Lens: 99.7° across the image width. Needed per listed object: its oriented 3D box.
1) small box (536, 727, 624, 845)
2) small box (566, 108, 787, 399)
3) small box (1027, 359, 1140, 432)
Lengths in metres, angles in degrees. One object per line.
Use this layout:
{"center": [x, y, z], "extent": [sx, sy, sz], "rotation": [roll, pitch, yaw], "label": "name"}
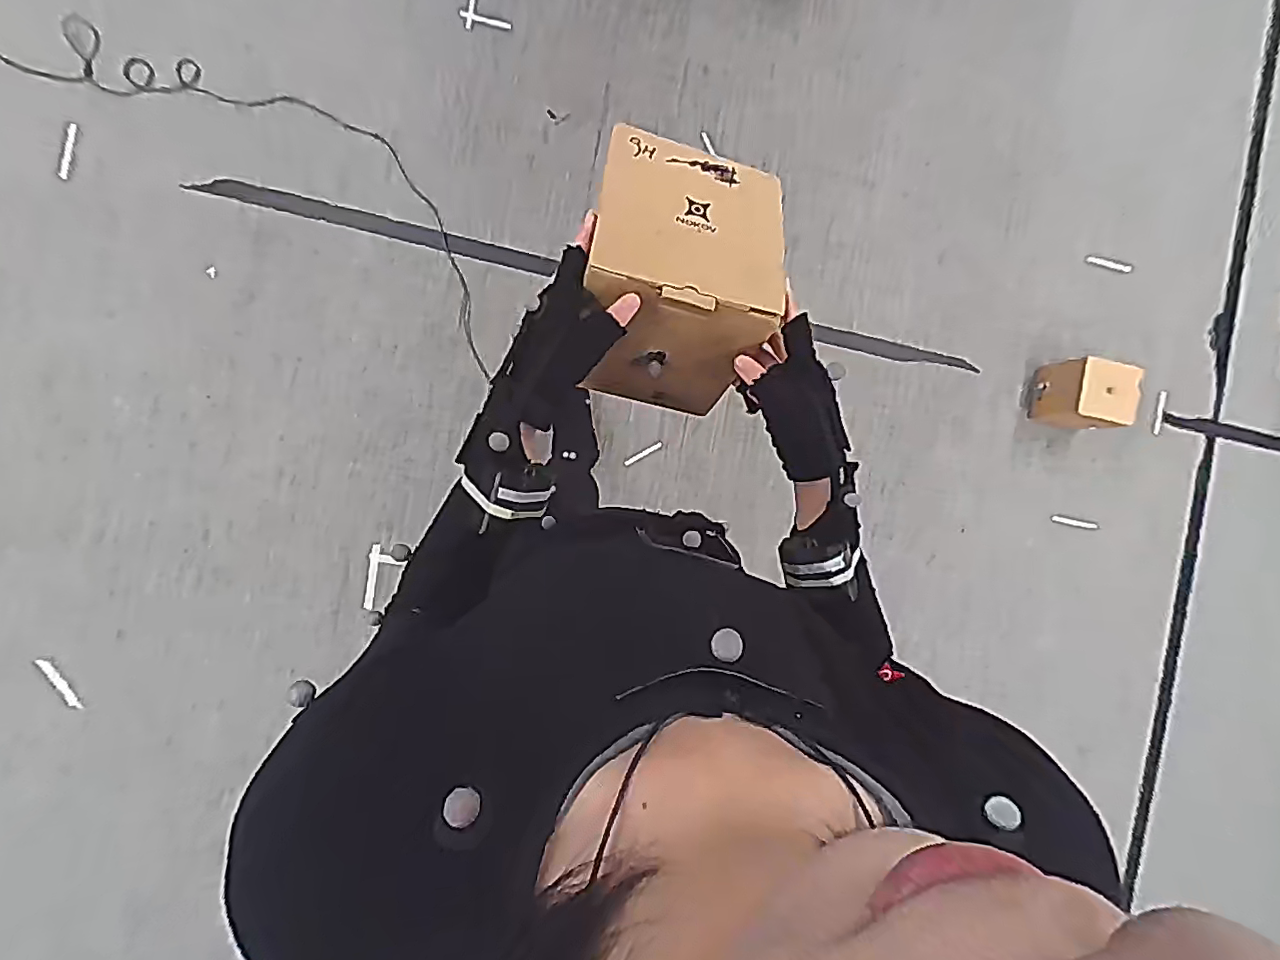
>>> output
{"center": [-0.156, 0.795, 1.425], "extent": [0.168, 0.176, 0.179], "rotation": [-29, 93, -6], "label": "small box"}
{"center": [0.027, -0.202, 0.526], "extent": [0.168, 0.176, 0.179], "rotation": [11, 66, -12], "label": "small box"}
{"center": [1.286, -0.239, 1.576], "extent": [0.179, 0.176, 0.168], "rotation": [11, 89, -6], "label": "small box"}
